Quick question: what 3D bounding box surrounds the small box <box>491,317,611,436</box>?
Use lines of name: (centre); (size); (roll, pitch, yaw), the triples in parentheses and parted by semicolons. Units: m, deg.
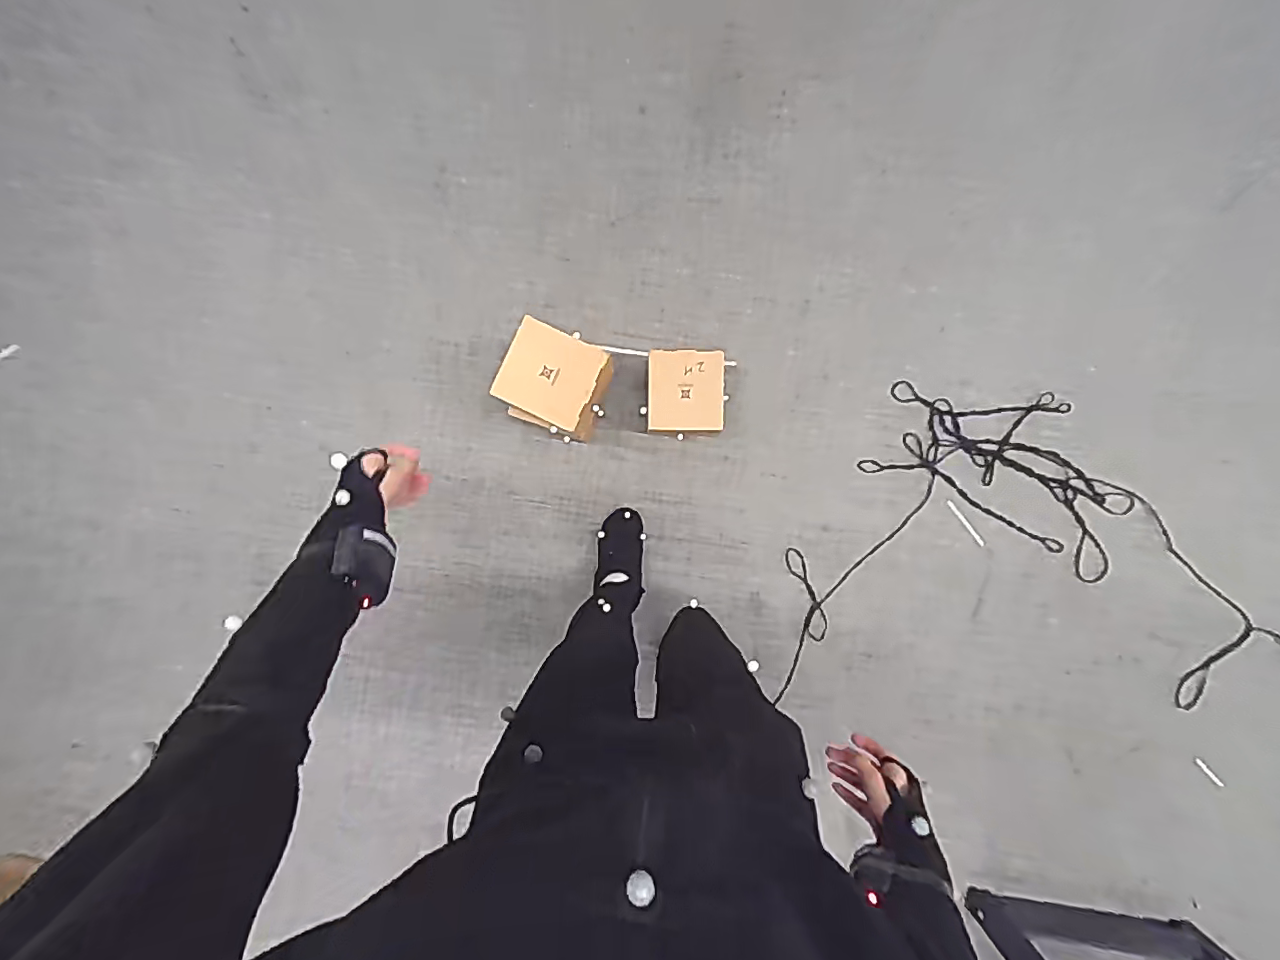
small box: (-0.170, -0.197, 1.091); (0.179, 0.176, 0.168); (25, 90, -1)

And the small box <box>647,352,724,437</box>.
small box: (0.101, -0.191, 1.250); (0.168, 0.176, 0.179); (1, 90, 1)
